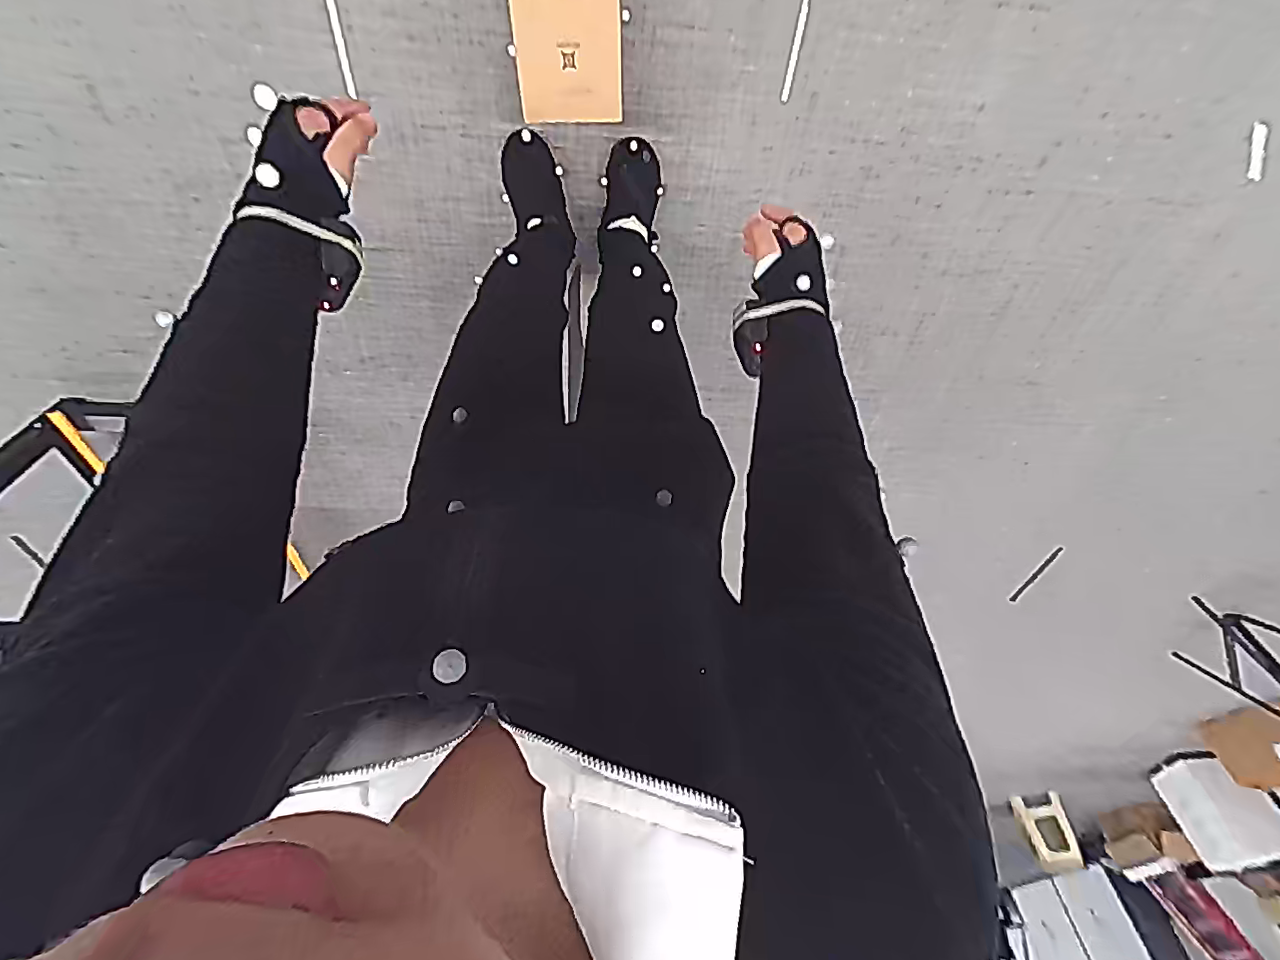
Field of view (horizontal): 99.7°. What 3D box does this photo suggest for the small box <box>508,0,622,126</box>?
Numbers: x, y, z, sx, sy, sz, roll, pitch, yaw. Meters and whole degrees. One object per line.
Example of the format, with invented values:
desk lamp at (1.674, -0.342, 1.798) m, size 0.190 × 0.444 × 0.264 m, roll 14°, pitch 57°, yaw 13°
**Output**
small box at (-0.115, -0.705, 0.890) m, size 0.168 × 0.176 × 0.179 m, roll -1°, pitch 136°, yaw -1°
